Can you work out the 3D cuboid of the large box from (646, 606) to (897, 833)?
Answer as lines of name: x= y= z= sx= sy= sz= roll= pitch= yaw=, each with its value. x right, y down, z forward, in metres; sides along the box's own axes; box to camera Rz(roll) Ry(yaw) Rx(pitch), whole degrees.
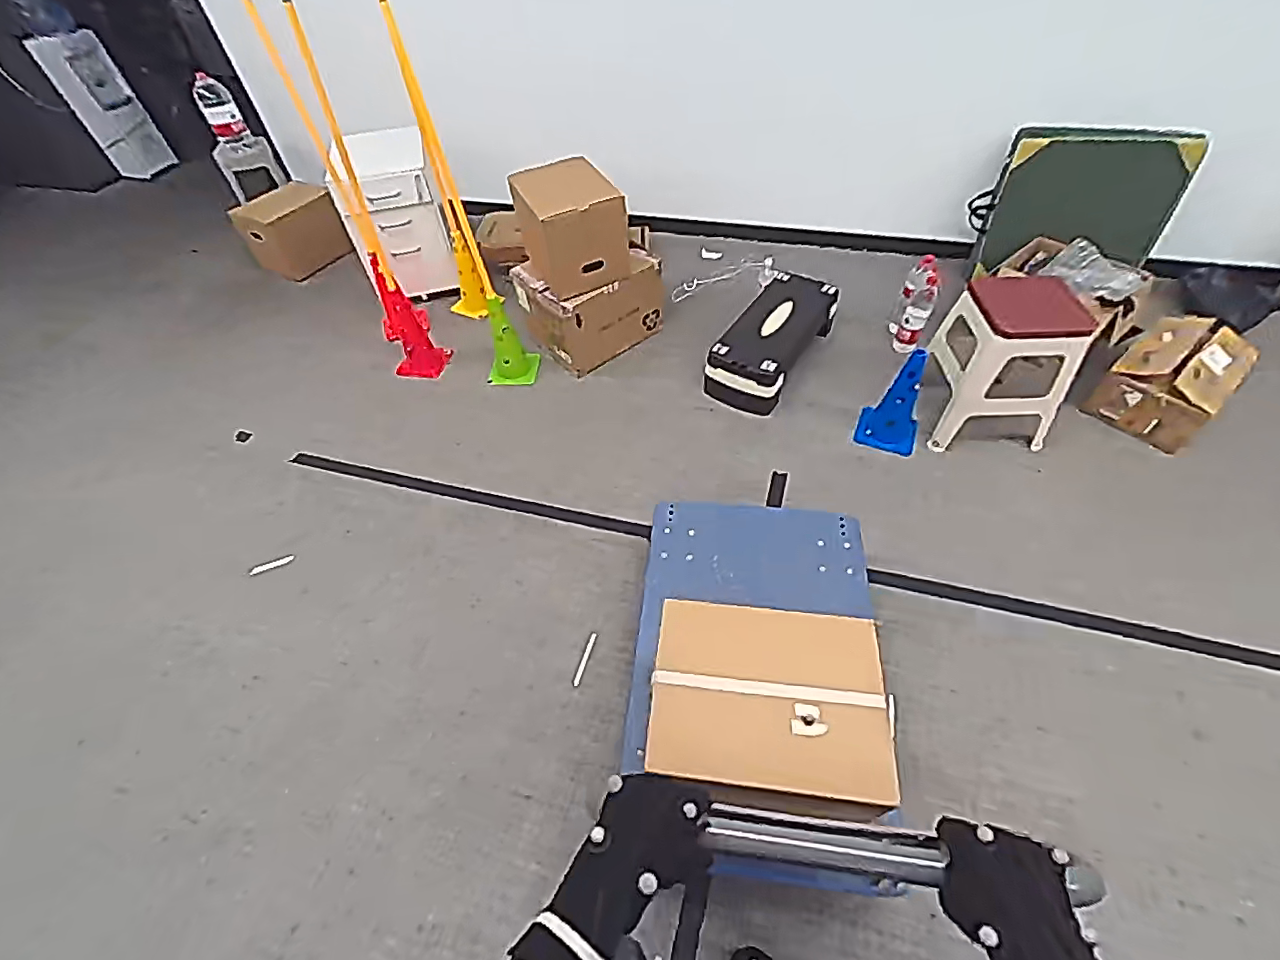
large box: x=0.225 y=0.473 z=1.064 sx=0.408 sy=0.320 sz=0.320 roll=5 pitch=52 yaw=6
